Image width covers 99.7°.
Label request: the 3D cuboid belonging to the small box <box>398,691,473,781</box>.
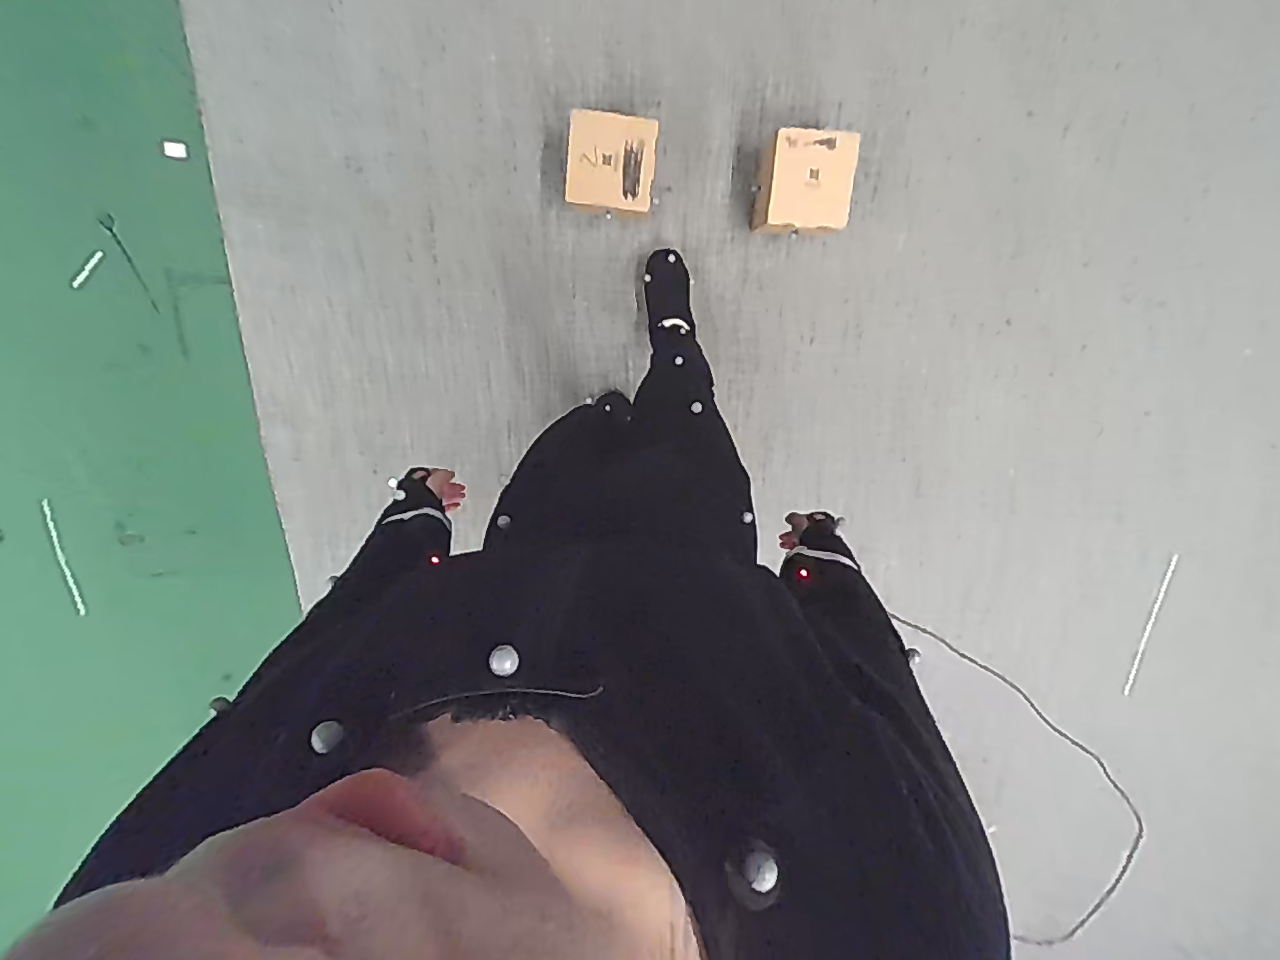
[{"bbox_3d":[-0.622,0.778,1.658,0.168,0.176,0.179,10,109,-2],"label":"small box"}]

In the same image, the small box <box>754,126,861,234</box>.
[{"bbox_3d":[0.346,-0.631,1.158,0.168,0.176,0.179,4,110,-1],"label":"small box"}]
